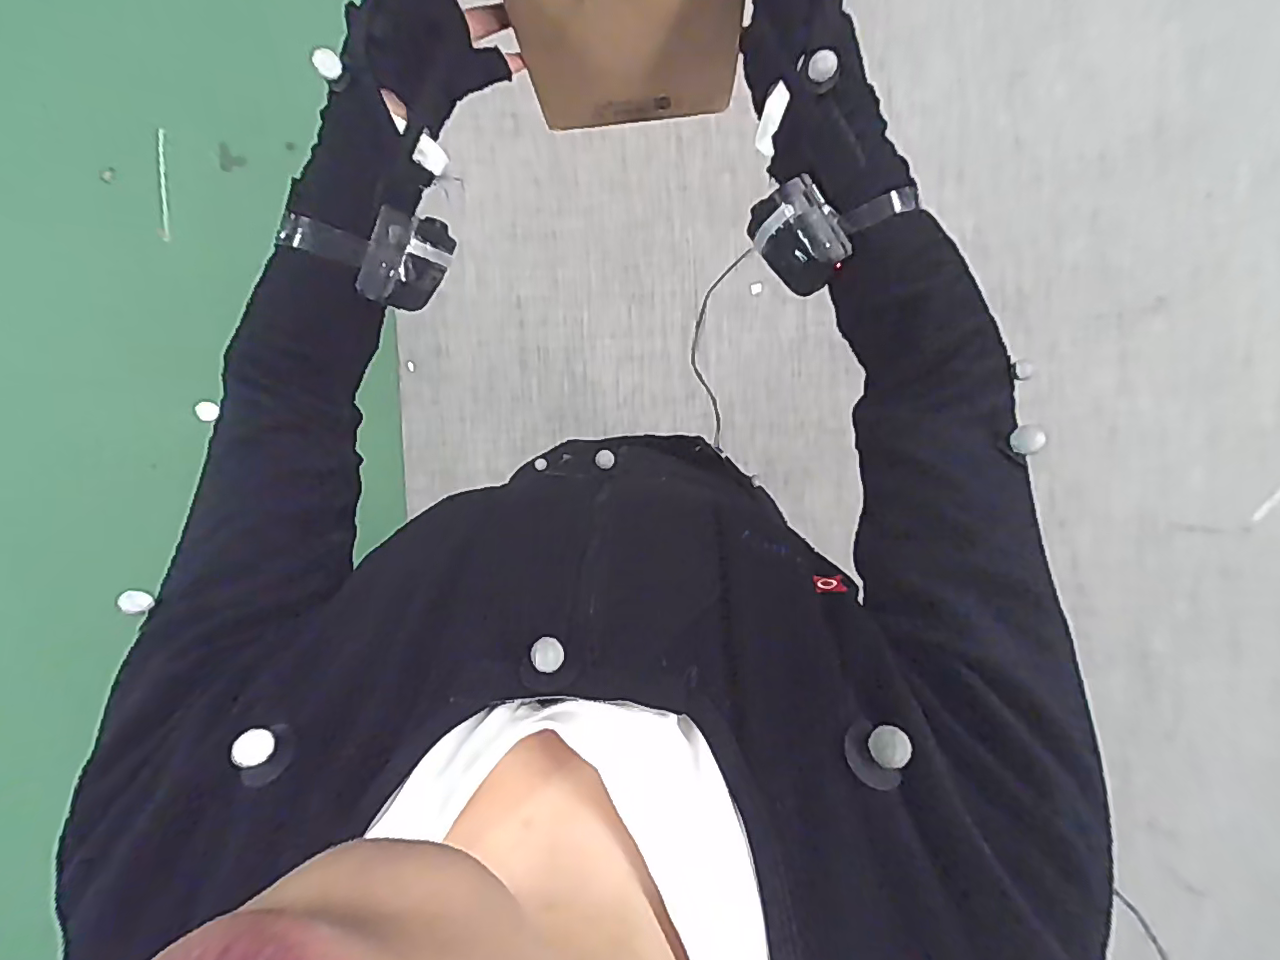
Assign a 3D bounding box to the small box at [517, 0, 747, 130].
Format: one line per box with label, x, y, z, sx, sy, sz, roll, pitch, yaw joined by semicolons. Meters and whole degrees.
small box;-0.009;-0.411;0.410;0.168;0.176;0.179;-3;85;4
